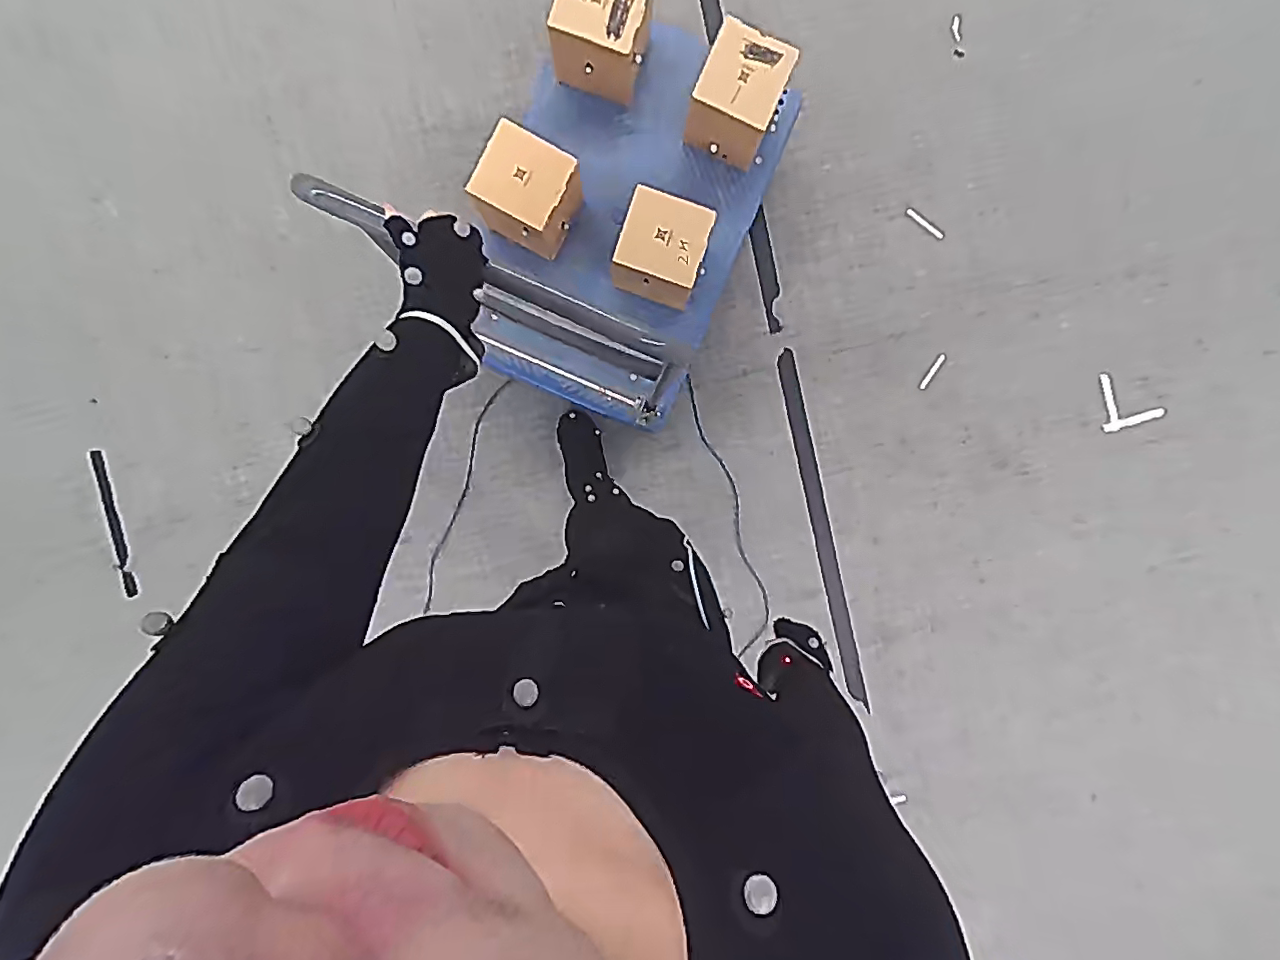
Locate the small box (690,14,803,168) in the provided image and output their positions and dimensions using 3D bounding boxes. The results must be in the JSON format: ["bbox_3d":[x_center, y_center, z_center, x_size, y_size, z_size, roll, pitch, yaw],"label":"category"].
[{"bbox_3d":[0.216,-0.822,1.160,0.168,0.176,0.179,24,93,-3],"label":"small box"}]

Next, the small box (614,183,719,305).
[{"bbox_3d":[0.052,-0.500,1.173,0.179,0.176,0.168,19,92,-2],"label":"small box"}]

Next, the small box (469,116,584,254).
[{"bbox_3d":[-0.234,-0.619,1.161,0.179,0.176,0.168,28,92,-4],"label":"small box"}]
